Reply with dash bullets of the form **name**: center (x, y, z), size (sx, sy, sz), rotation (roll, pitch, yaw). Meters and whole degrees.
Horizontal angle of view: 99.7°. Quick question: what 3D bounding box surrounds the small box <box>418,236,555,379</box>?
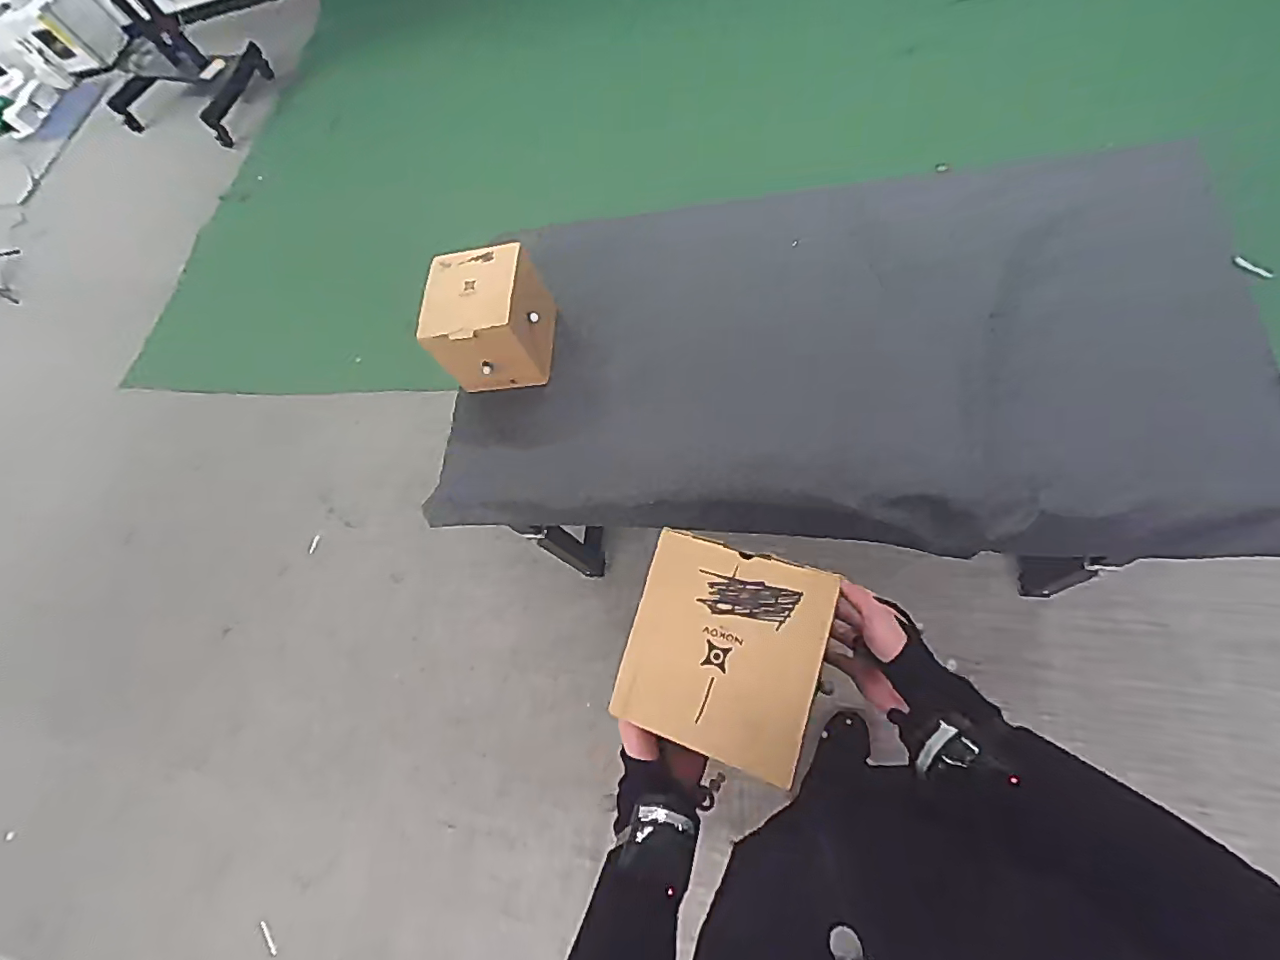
- **small box**: center (-0.260, -0.292, 0.955), size (0.168, 0.176, 0.179), rotation (-3, 69, 13)
